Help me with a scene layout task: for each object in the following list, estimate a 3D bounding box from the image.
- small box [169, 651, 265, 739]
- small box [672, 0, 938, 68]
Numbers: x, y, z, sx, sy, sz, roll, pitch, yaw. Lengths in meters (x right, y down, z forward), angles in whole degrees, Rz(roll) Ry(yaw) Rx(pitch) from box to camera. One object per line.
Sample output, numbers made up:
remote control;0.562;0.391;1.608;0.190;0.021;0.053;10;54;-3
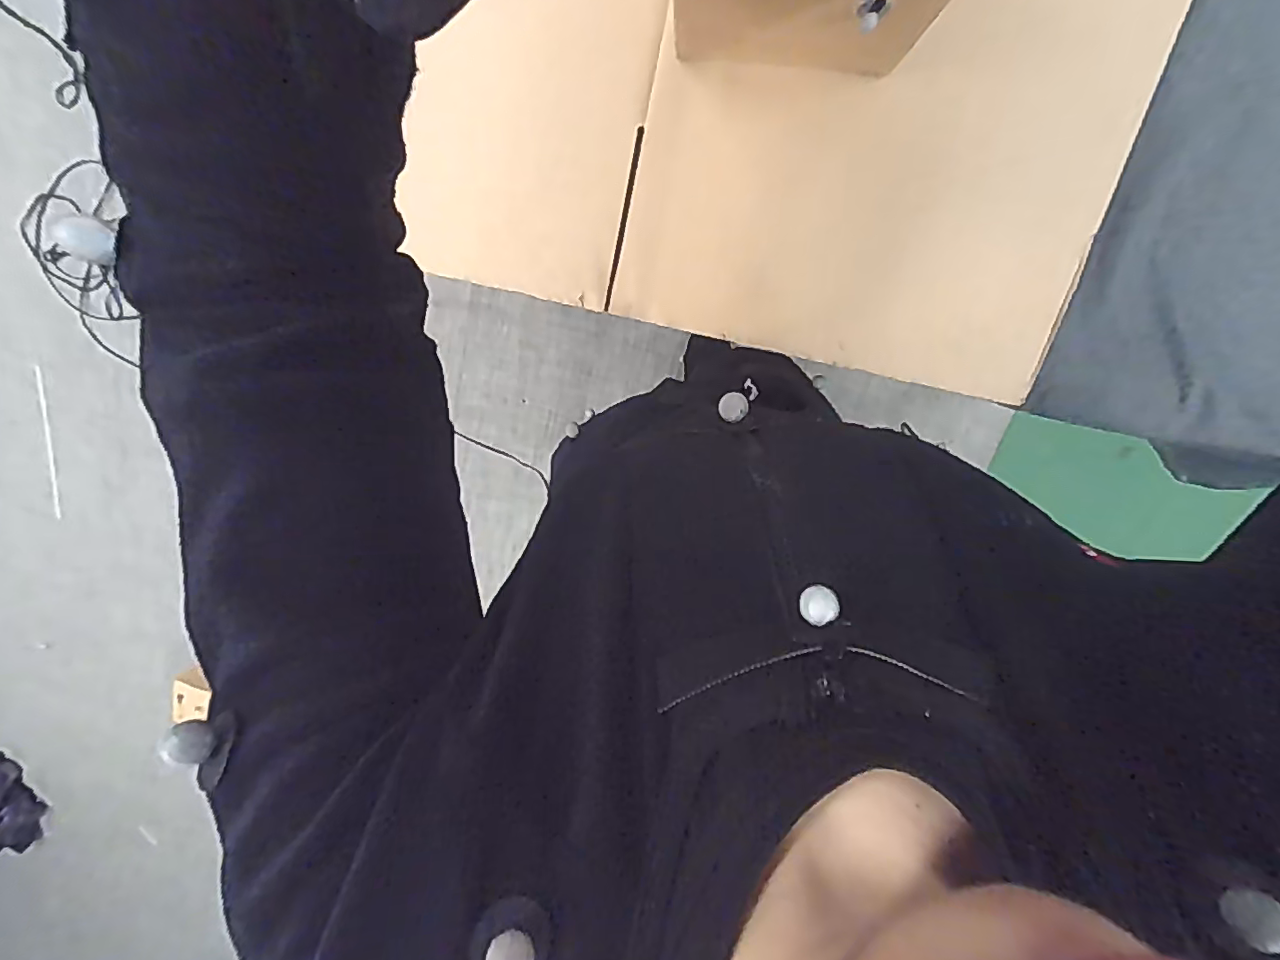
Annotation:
small box;-1.312;0.663;1.685;0.179;0.176;0.168;18;108;-1
small box;0.114;-0.388;0.333;0.179;0.176;0.168;6;105;3
